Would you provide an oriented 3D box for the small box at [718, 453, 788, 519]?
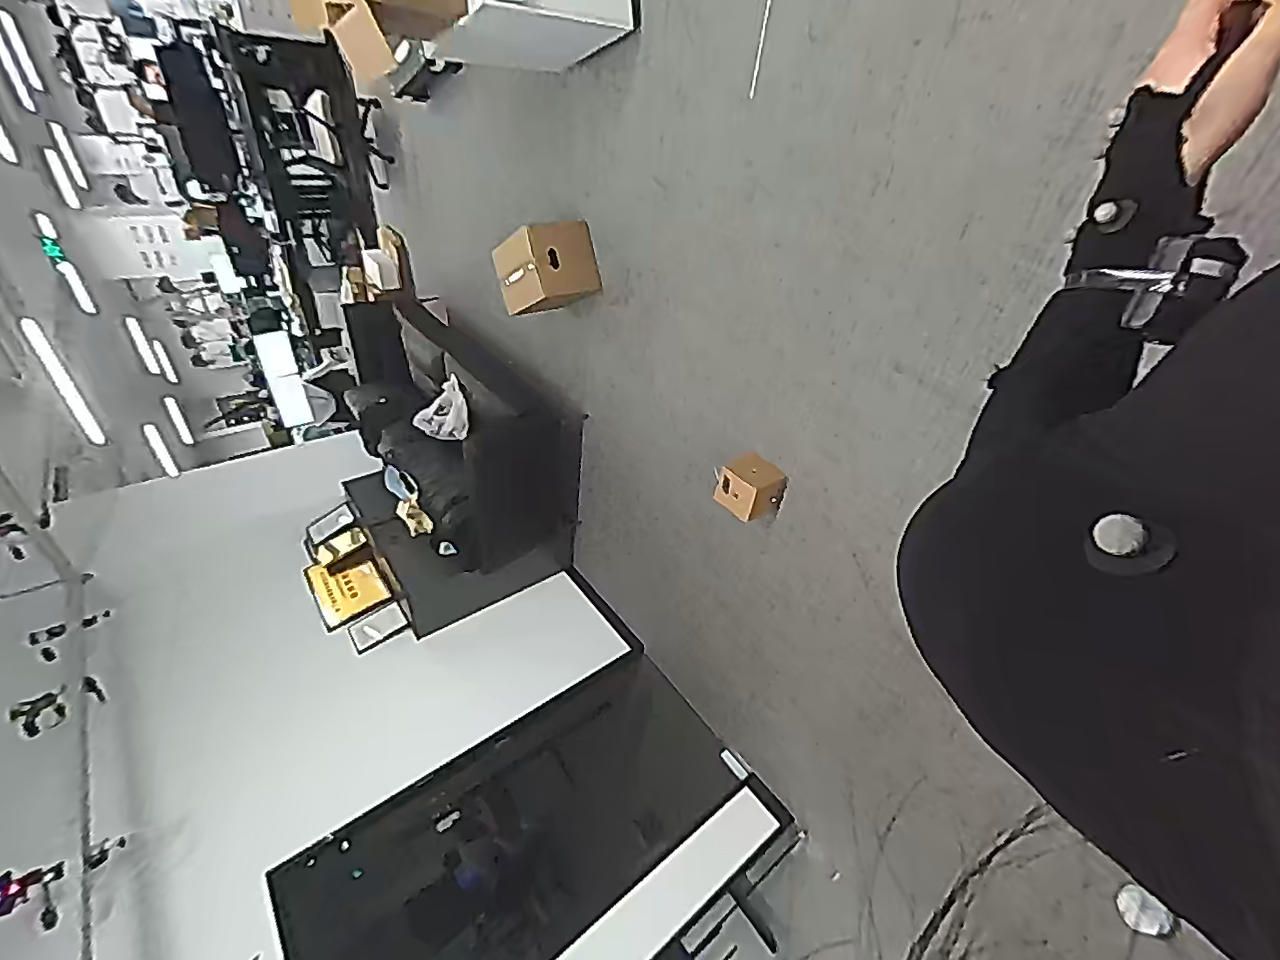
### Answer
[{"bbox_3d":[0.429,0.013,2.064,0.179,0.176,0.168,41,139,35],"label":"small box"}]
